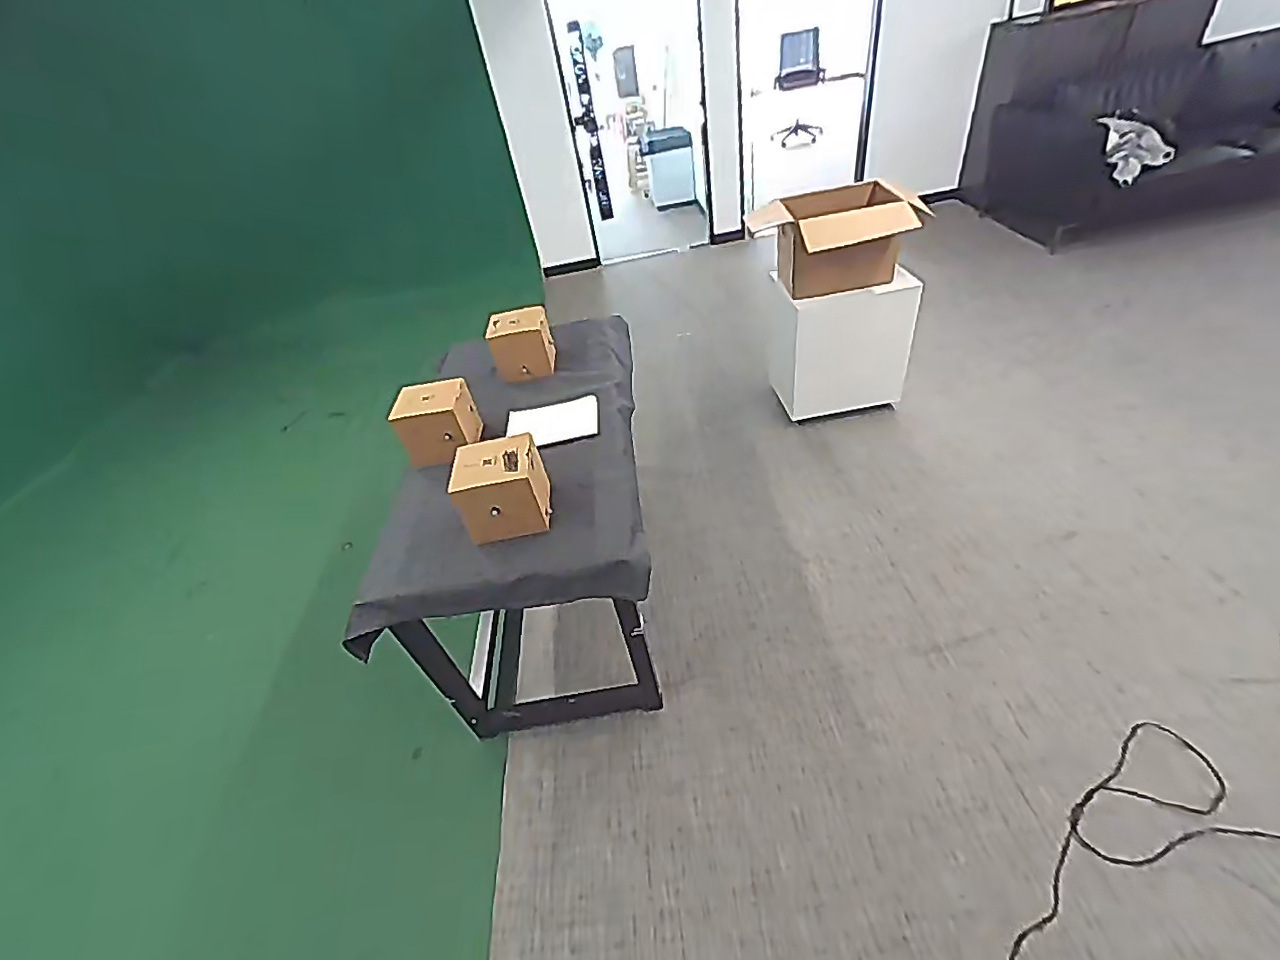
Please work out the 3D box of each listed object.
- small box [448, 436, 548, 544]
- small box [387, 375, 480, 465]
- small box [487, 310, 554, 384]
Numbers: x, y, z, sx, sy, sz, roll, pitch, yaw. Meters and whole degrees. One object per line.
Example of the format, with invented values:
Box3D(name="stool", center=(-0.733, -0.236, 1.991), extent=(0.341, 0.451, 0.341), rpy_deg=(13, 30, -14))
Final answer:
Box3D(name="small box", center=(-0.315, 0.025, 1.243), extent=(0.179, 0.176, 0.168), rpy_deg=(-11, 40, 1))
Box3D(name="small box", center=(-0.558, -0.164, 1.487), extent=(0.179, 0.176, 0.168), rpy_deg=(-11, 40, 2))
Box3D(name="small box", center=(-0.384, -0.436, 1.776), extent=(0.179, 0.176, 0.168), rpy_deg=(-8, 41, 1))
